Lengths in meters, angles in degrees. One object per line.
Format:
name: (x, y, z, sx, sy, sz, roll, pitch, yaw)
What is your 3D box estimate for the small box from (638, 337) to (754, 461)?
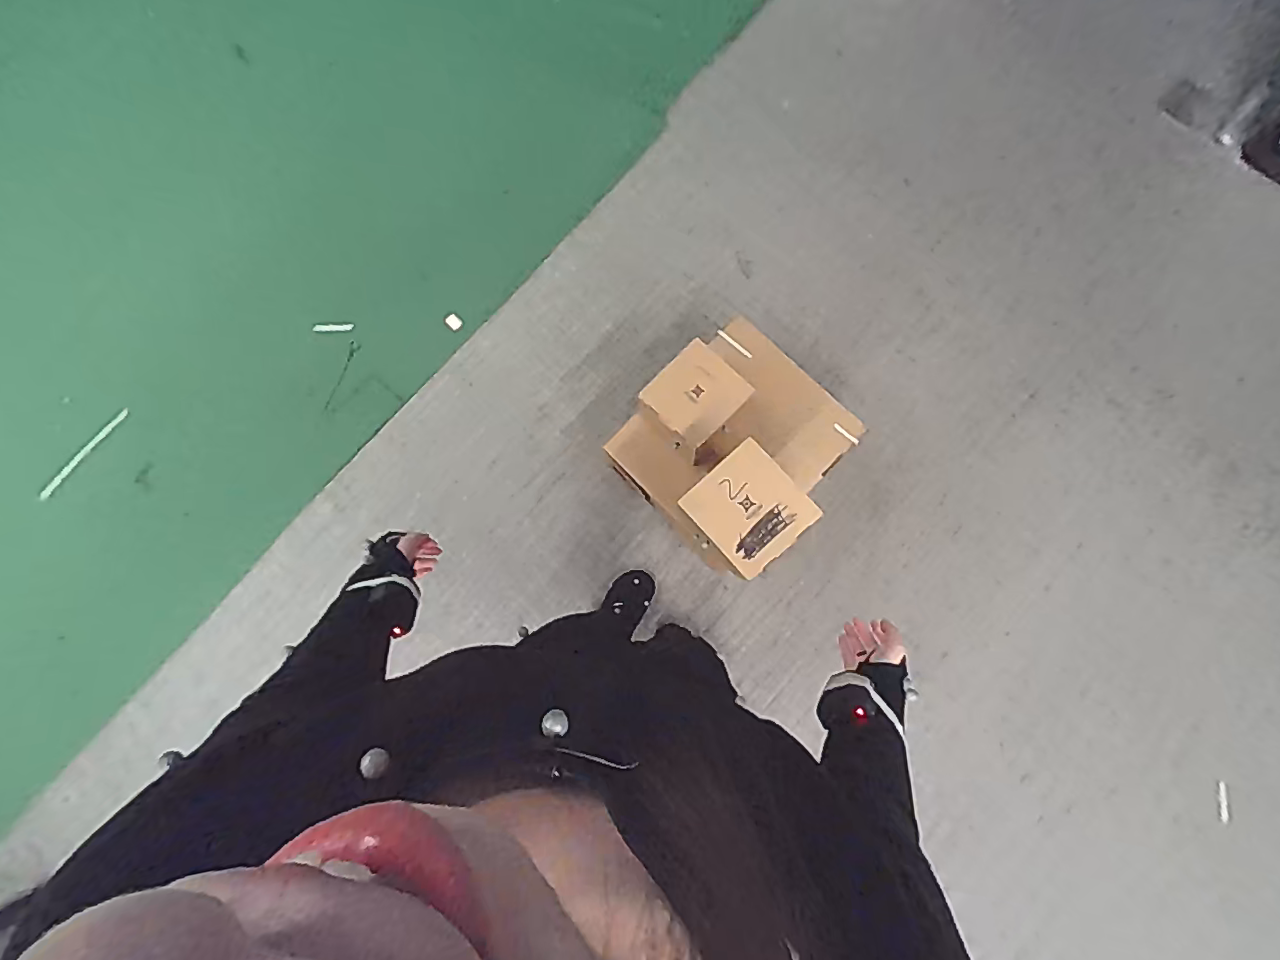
small box: (0.116, -0.163, 1.155, 0.179, 0.176, 0.168, -44, 82, -5)

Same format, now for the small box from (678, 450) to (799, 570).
small box: (0.190, 0.067, 1.114, 0.179, 0.176, 0.168, -42, 82, -4)
